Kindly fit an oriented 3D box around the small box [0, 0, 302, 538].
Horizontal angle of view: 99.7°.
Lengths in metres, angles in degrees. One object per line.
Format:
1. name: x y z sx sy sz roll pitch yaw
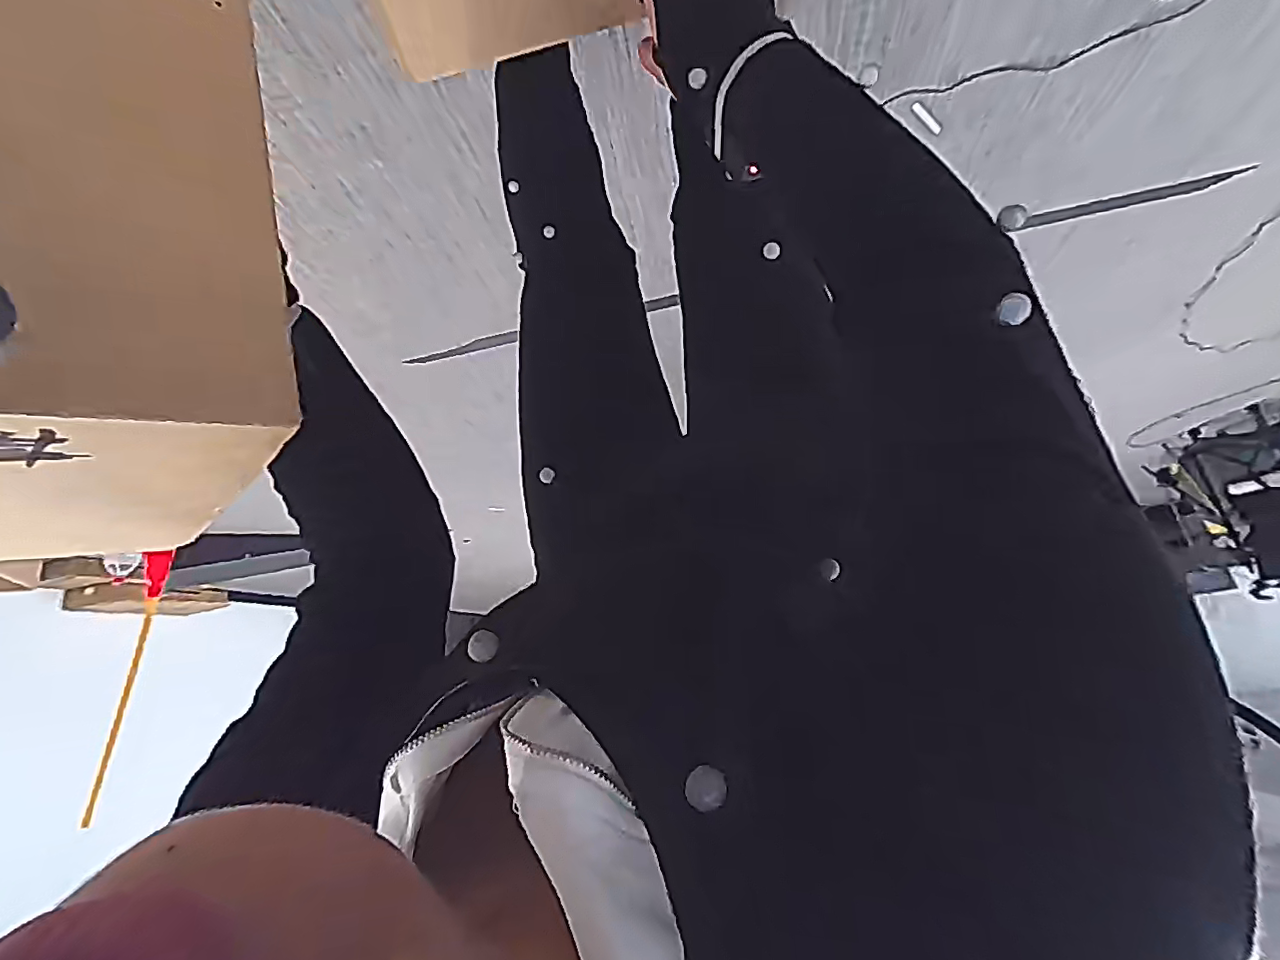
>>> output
1. small box: -0.228 -0.077 0.163 0.179 0.176 0.168 -19 170 39
